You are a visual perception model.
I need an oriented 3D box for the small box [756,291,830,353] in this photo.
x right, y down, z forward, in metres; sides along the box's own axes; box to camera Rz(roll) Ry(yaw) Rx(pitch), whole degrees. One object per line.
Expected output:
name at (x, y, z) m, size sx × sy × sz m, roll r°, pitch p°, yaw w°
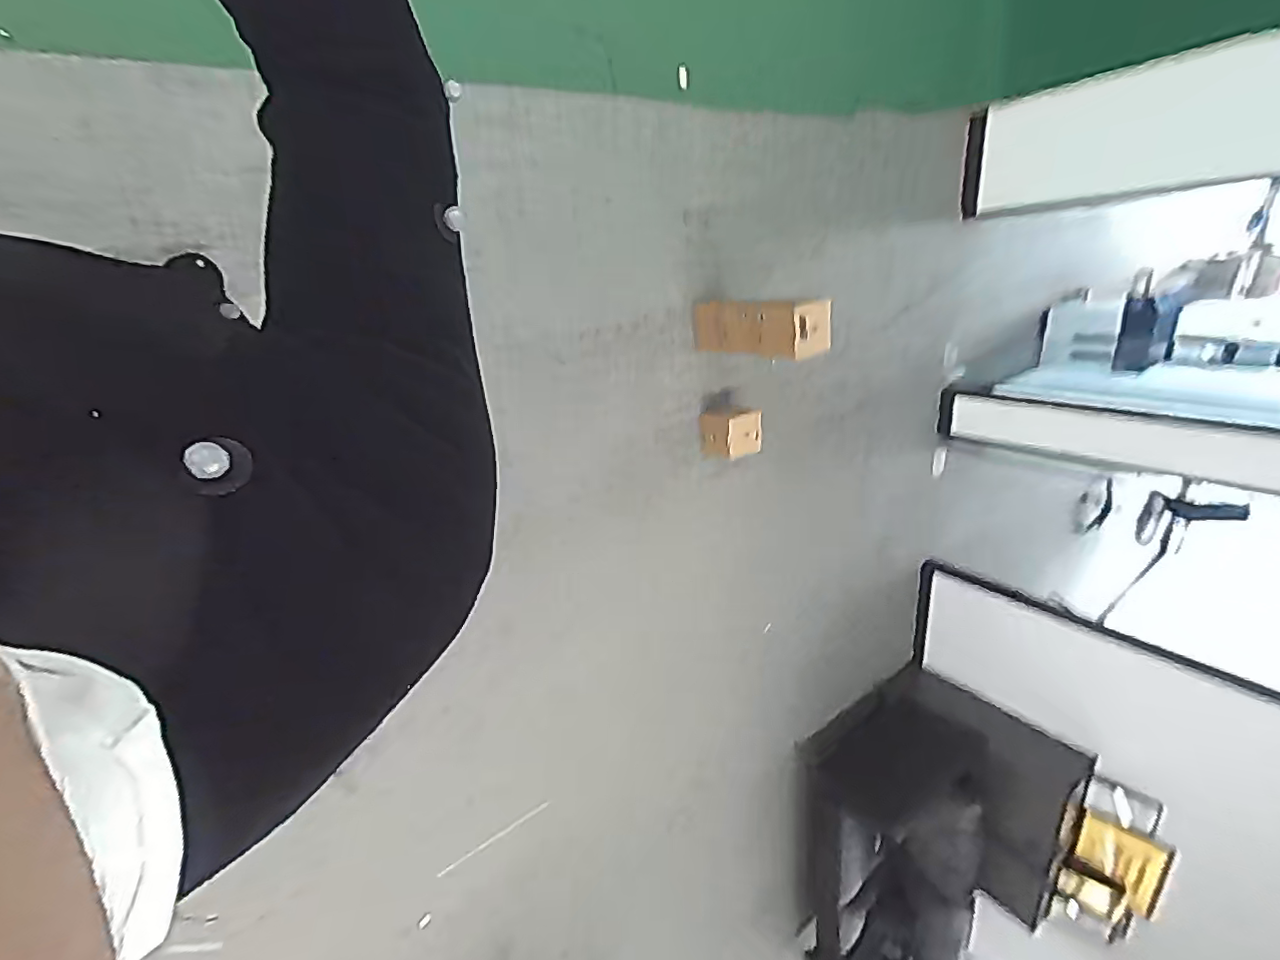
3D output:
small box at (0.492, -0.513, 1.754) m, size 0.179 × 0.176 × 0.168 m, roll -22°, pitch 116°, yaw -30°

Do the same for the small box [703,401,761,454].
small box at (0.366, -0.215, 2.177) m, size 0.179 × 0.176 × 0.168 m, roll -18°, pitch 115°, yaw -30°

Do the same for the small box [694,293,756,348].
small box at (0.314, -0.597, 2.017) m, size 0.168 × 0.176 × 0.179 m, roll -20°, pitch 116°, yaw -30°
